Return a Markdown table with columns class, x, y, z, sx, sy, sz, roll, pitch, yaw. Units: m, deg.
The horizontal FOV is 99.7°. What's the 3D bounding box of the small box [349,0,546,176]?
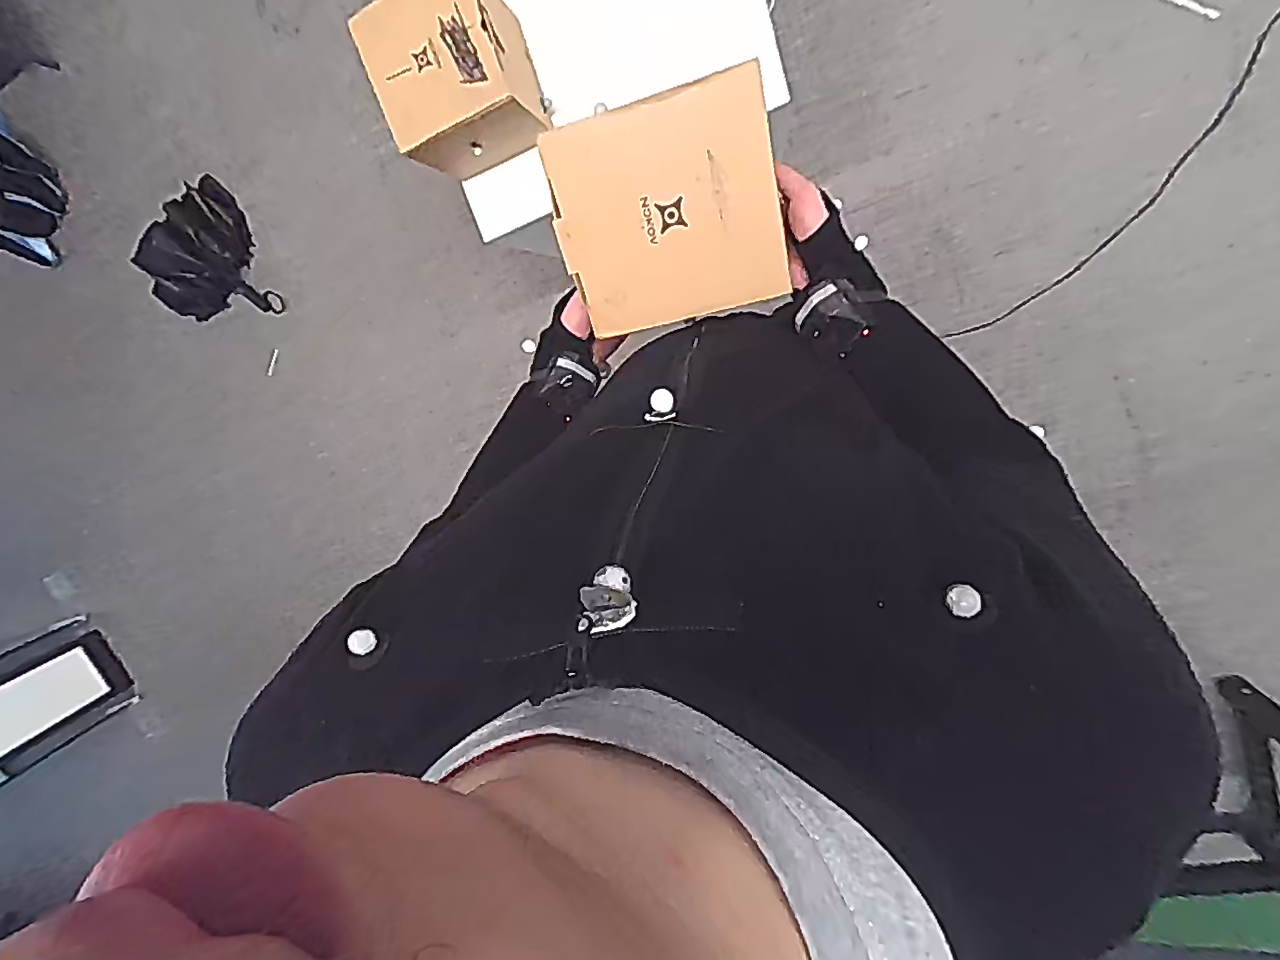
| class | x | y | z | sx | sy | sz | roll | pitch | yaw |
| --- | --- | --- | --- | --- | --- | --- | --- | --- | --- |
| small box | -0.248 | -0.554 | 0.752 | 0.179 | 0.176 | 0.168 | -15 | 104 | 17 |
